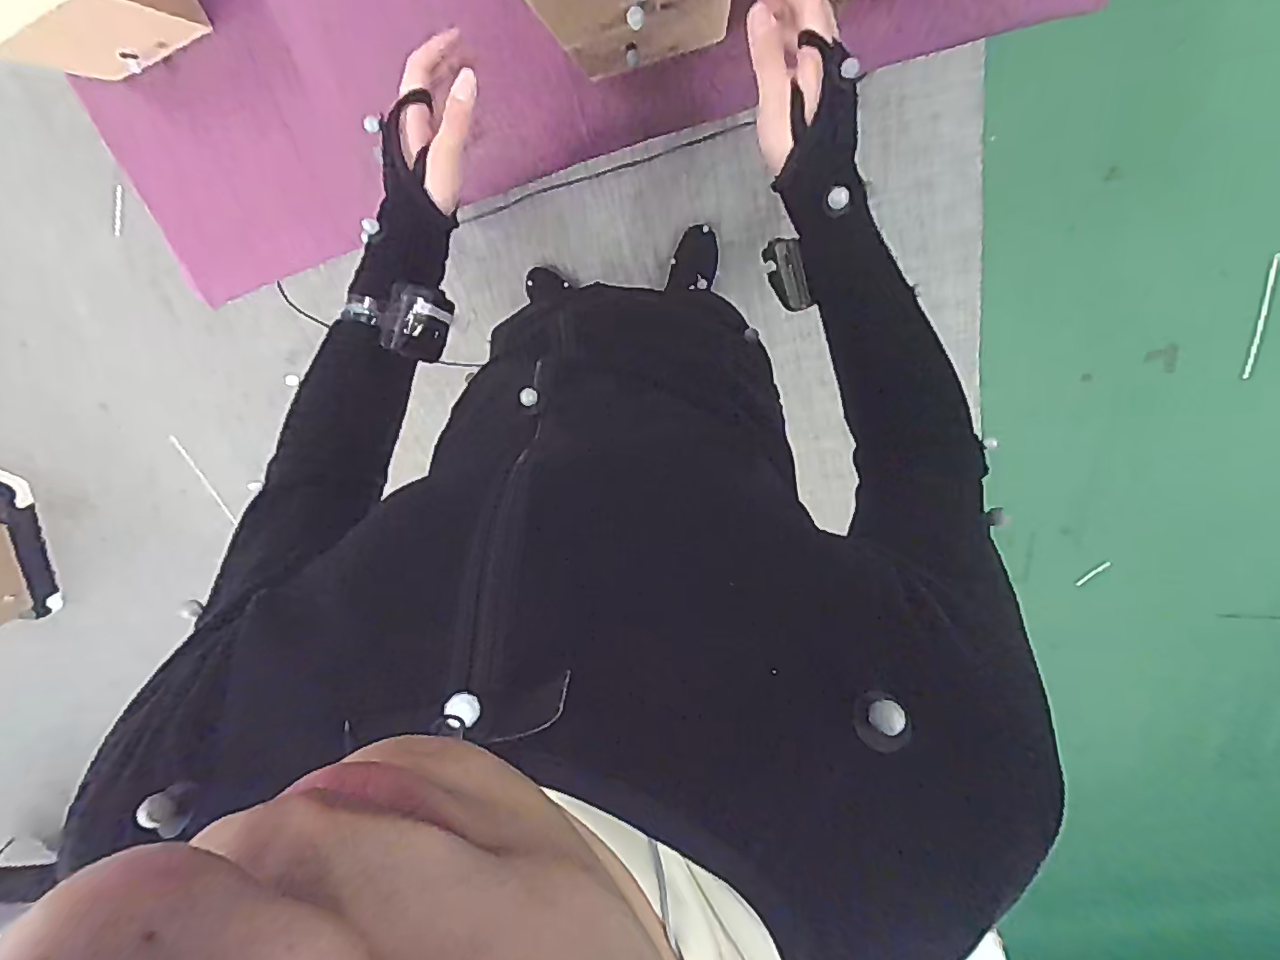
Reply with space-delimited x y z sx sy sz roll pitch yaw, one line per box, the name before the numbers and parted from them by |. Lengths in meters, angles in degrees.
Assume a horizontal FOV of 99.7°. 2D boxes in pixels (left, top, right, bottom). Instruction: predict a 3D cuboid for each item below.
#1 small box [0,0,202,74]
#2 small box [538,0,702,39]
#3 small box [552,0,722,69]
small box | -0.644 -0.579 0.580 0.168 0.176 0.179 -14 117 13
small box | -0.025 -0.467 0.391 0.168 0.176 0.179 -9 116 11
small box | -0.010 -0.541 0.537 0.168 0.176 0.179 -10 115 11
